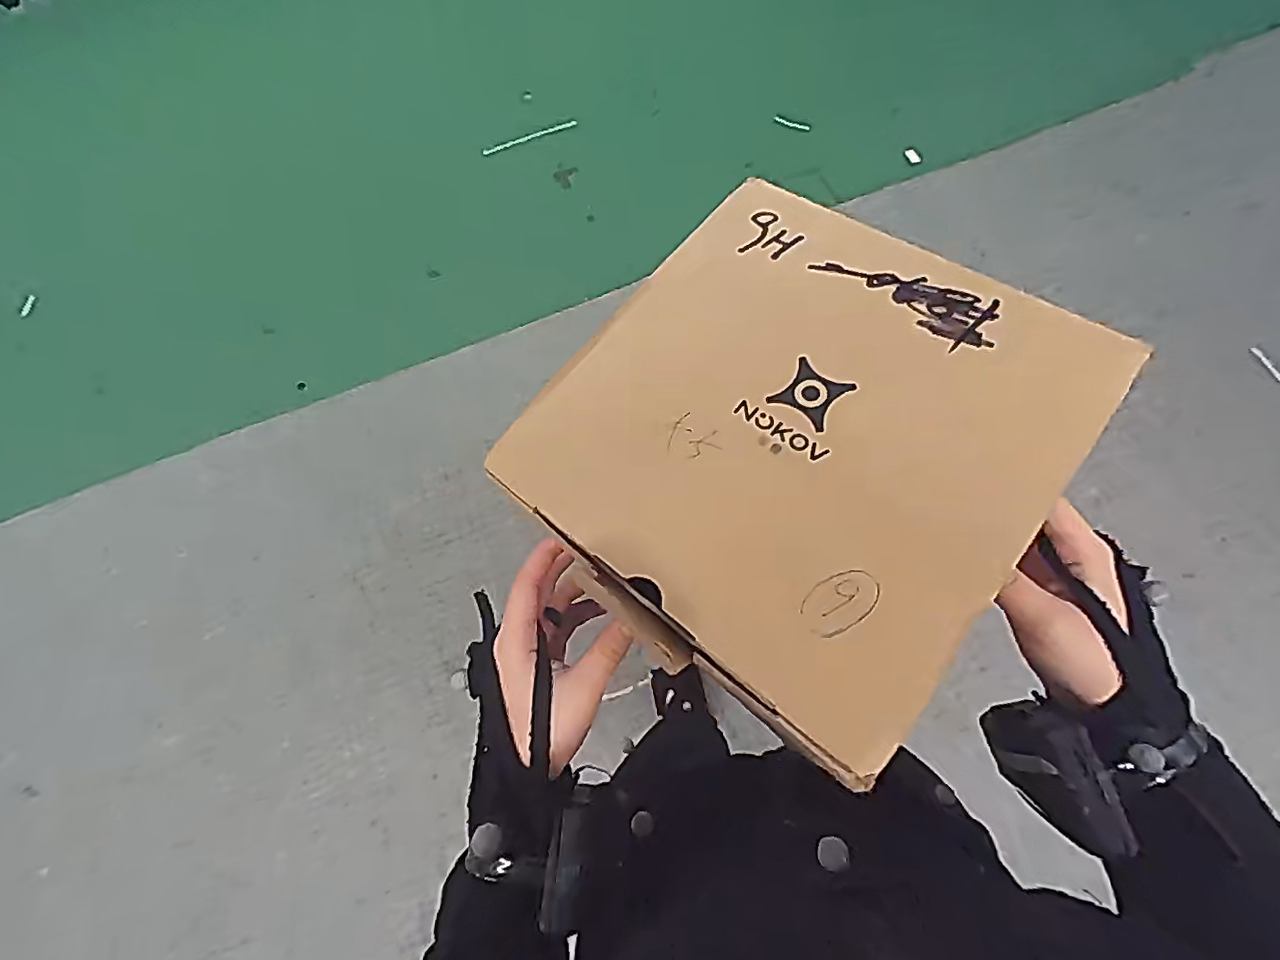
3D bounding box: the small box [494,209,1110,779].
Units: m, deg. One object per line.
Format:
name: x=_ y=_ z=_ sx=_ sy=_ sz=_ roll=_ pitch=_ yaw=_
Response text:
small box: x=0.067 y=0.013 z=0.278 sx=0.168 sy=0.176 sz=0.179 roll=36 pitch=78 yaw=21
